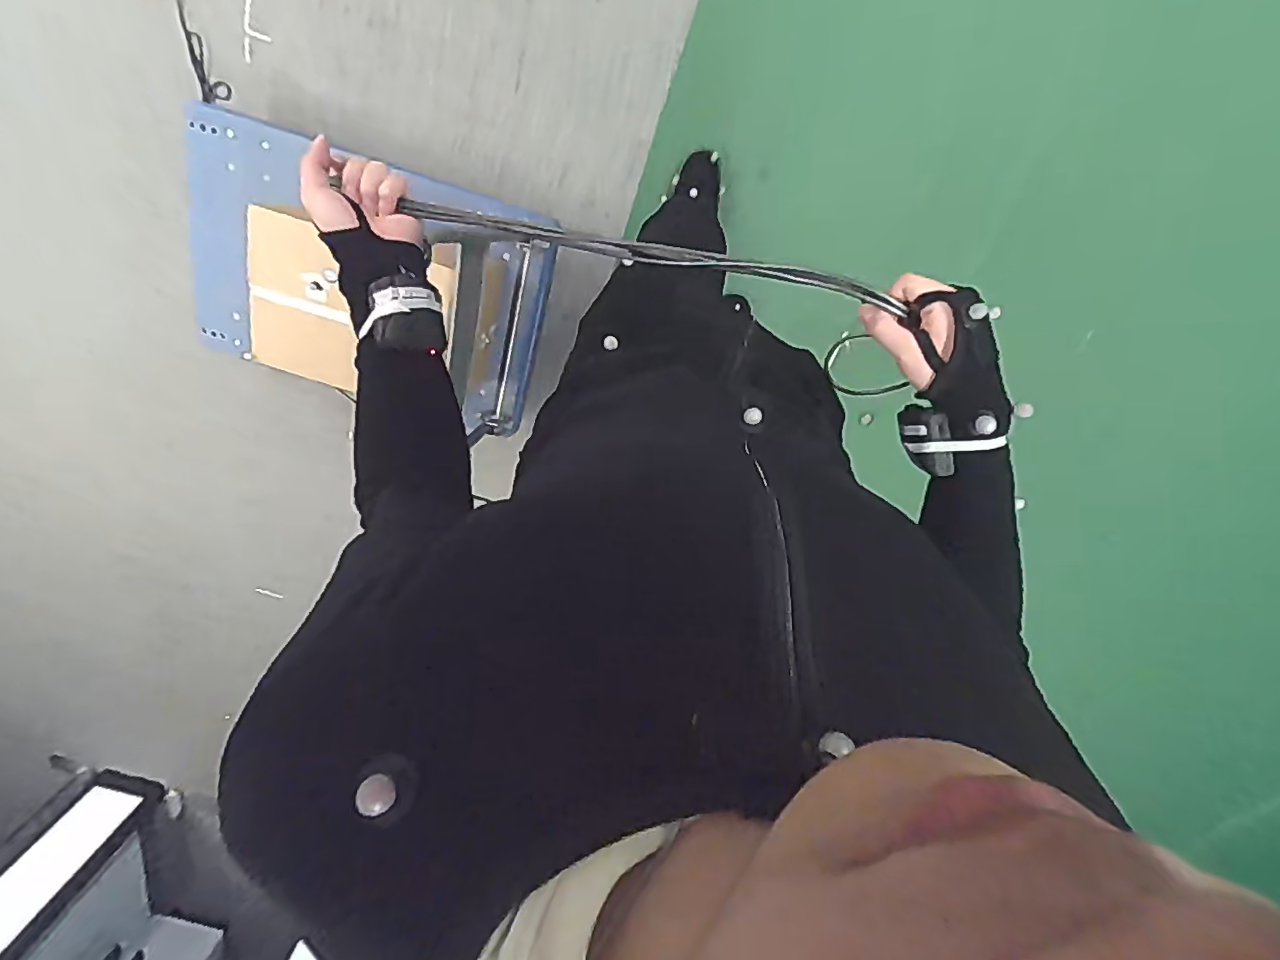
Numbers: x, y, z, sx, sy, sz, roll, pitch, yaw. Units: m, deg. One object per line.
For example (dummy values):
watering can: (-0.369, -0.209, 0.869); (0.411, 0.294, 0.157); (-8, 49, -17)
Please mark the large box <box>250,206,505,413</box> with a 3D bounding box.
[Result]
large box: (-0.557, -0.388, 1.205); (0.408, 0.320, 0.320); (17, 115, -2)
